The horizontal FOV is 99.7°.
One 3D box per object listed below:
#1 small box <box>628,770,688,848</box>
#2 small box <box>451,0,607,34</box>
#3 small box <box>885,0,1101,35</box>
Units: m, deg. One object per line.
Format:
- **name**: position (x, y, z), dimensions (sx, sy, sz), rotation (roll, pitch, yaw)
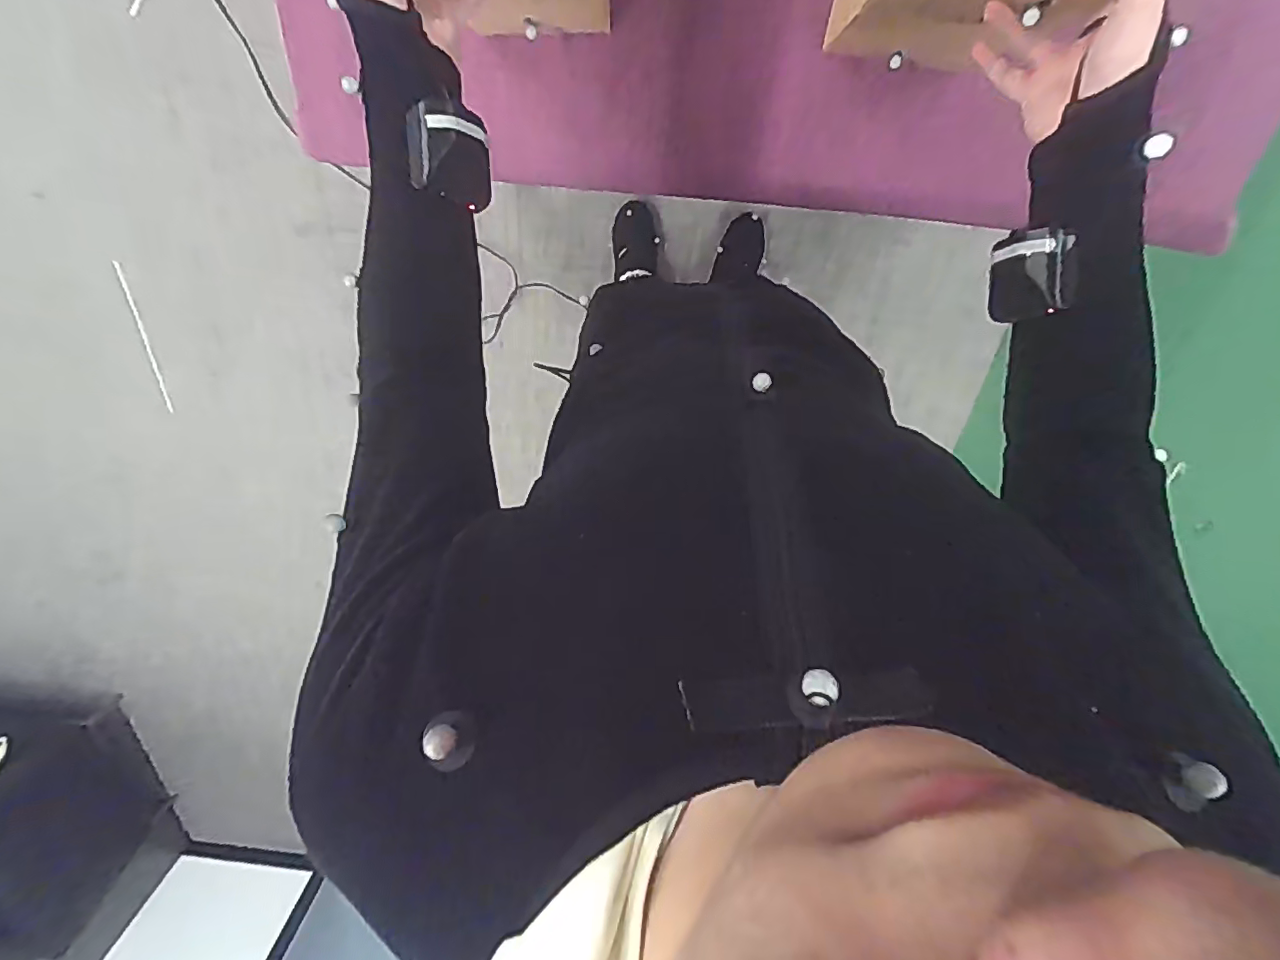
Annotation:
- **small box**: position (0.063, 1.154, 1.903), dimensions (0.179, 0.176, 0.168), rotation (13, 119, -3)
- **small box**: position (-0.124, -0.576, 0.536), dimensions (0.168, 0.176, 0.179), rotation (3, 119, 4)
- **small box**: position (0.288, -0.451, 0.383), dimensions (0.168, 0.176, 0.179), rotation (10, 119, 0)
